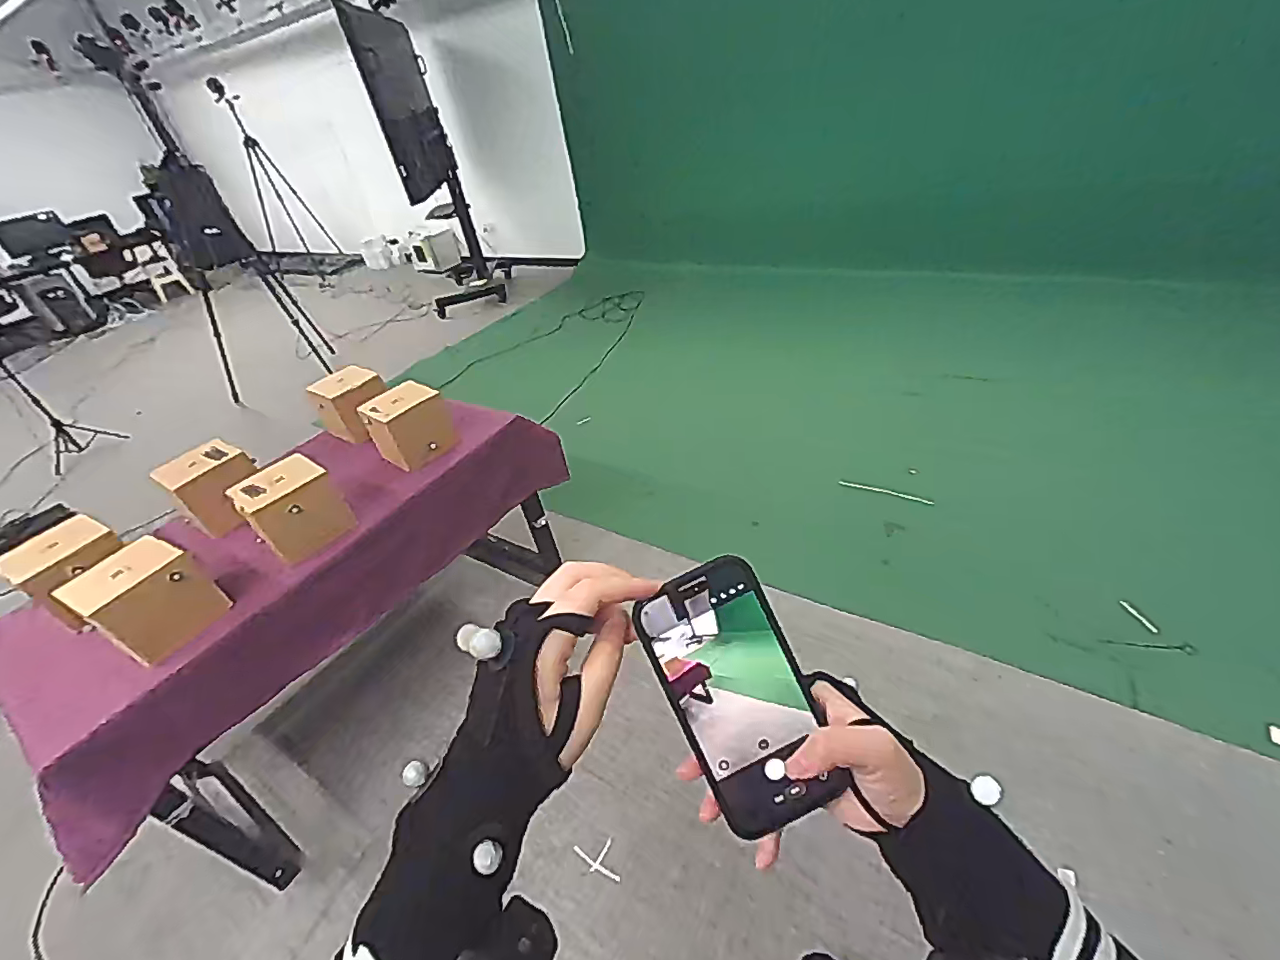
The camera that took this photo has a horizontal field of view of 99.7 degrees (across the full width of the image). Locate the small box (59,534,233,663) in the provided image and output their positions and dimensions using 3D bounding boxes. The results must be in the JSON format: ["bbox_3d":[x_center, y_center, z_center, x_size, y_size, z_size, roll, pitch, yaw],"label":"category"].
[{"bbox_3d":[-0.999,0.242,1.107,0.168,0.176,0.179,11,41,27],"label":"small box"}]

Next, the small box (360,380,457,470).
[{"bbox_3d":[-0.645,-0.158,1.534,0.168,0.176,0.179,22,48,36],"label":"small box"}]

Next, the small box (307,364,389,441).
[{"bbox_3d":[-0.896,-0.242,1.703,0.179,0.176,0.168,20,47,33],"label":"small box"}]

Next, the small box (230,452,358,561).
[{"bbox_3d":[-0.817,0.064,1.291,0.168,0.176,0.179,21,47,35],"label":"small box"}]
